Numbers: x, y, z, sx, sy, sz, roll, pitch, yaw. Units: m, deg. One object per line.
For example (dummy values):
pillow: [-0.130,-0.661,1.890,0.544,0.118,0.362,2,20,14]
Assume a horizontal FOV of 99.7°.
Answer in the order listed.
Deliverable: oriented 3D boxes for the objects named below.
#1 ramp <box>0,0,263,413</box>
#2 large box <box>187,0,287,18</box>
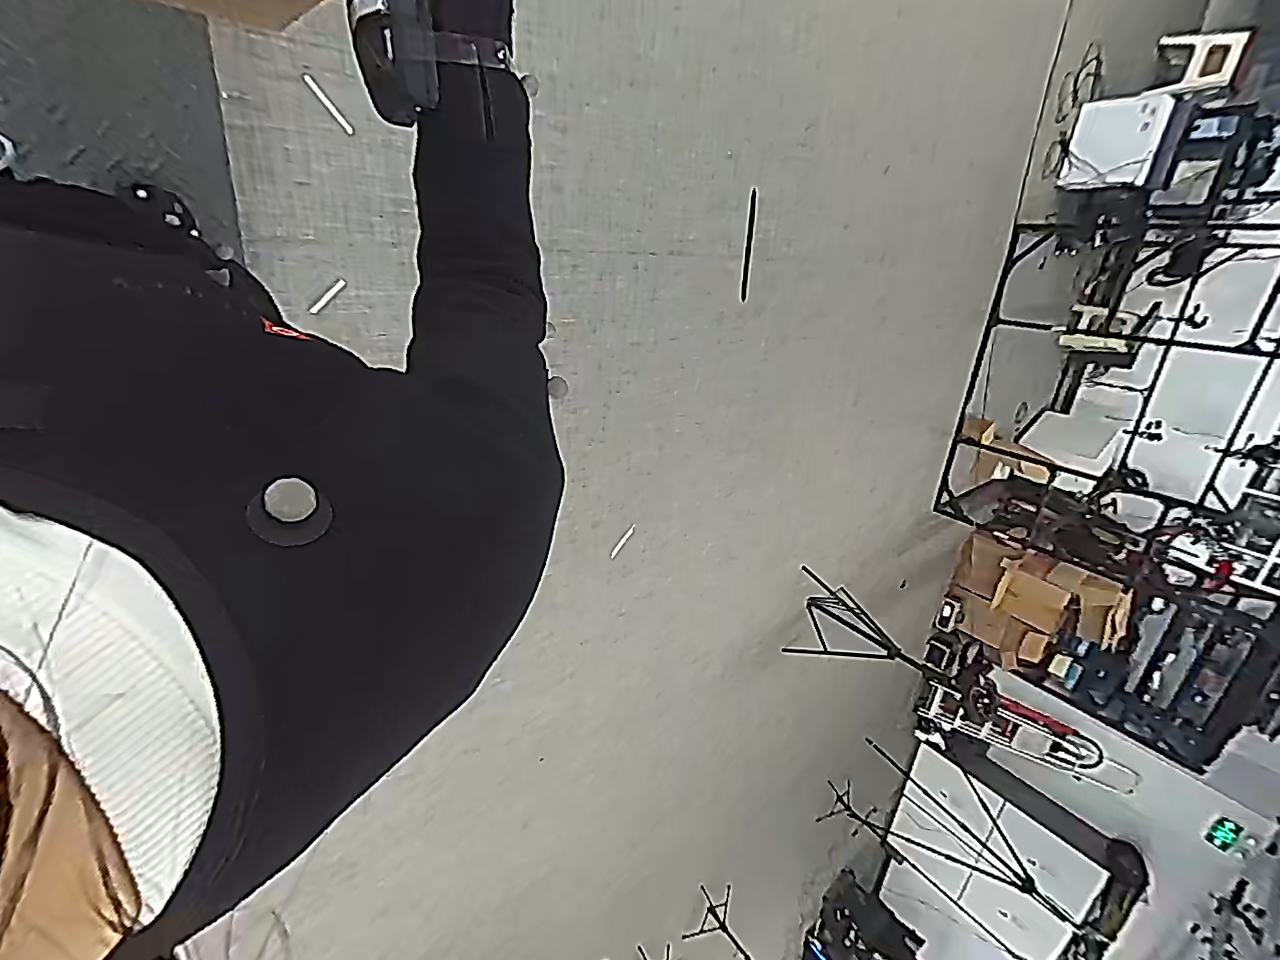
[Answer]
ramp: [-0.979,-0.581,0.887,0.509,0.206,0.991,-14,119,-37]
large box: [-0.373,-0.440,0.200,0.408,0.320,0.320,-15,126,-37]
